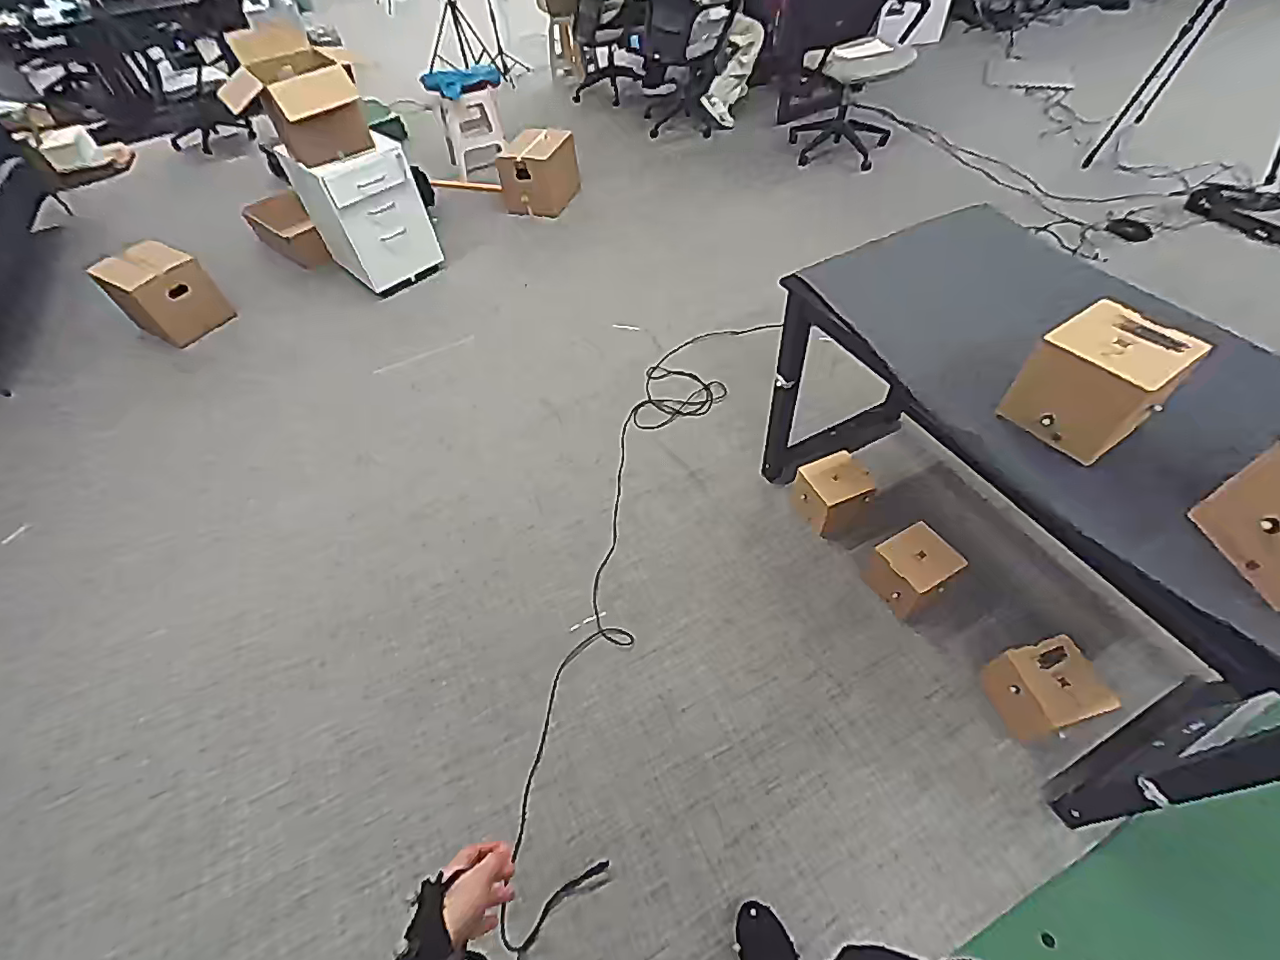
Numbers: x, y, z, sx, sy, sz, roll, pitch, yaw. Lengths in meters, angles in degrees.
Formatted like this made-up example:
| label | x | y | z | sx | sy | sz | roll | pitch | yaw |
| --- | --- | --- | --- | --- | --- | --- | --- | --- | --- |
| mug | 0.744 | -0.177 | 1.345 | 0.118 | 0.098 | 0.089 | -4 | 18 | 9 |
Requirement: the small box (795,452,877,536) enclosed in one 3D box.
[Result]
| label | x | y | z | sx | sy | sz | roll | pitch | yaw |
| --- | --- | --- | --- | --- | --- | --- | --- | --- | --- |
| small box | 0.602 | 0.048 | 1.689 | 0.179 | 0.176 | 0.168 | -20 | 52 | -11 |

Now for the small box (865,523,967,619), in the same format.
| label | x | y | z | sx | sy | sz | roll | pitch | yaw |
| --- | --- | --- | --- | --- | --- | --- | --- | --- | --- |
| small box | 0.754 | 0.257 | 1.503 | 0.179 | 0.176 | 0.168 | -25 | 54 | -15 |

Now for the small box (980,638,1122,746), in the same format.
| label | x | y | z | sx | sy | sz | roll | pitch | yaw |
| --- | --- | --- | --- | --- | --- | --- | --- | --- | --- |
| small box | 0.957 | 0.504 | 1.283 | 0.168 | 0.176 | 0.179 | -13 | 53 | -5 |

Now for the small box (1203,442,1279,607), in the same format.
| label | x | y | z | sx | sy | sz | roll | pitch | yaw |
| --- | --- | --- | --- | --- | --- | --- | --- | --- | --- |
| small box | 0.913 | 0.055 | 0.707 | 0.179 | 0.176 | 0.168 | -6 | 51 | -2 |
